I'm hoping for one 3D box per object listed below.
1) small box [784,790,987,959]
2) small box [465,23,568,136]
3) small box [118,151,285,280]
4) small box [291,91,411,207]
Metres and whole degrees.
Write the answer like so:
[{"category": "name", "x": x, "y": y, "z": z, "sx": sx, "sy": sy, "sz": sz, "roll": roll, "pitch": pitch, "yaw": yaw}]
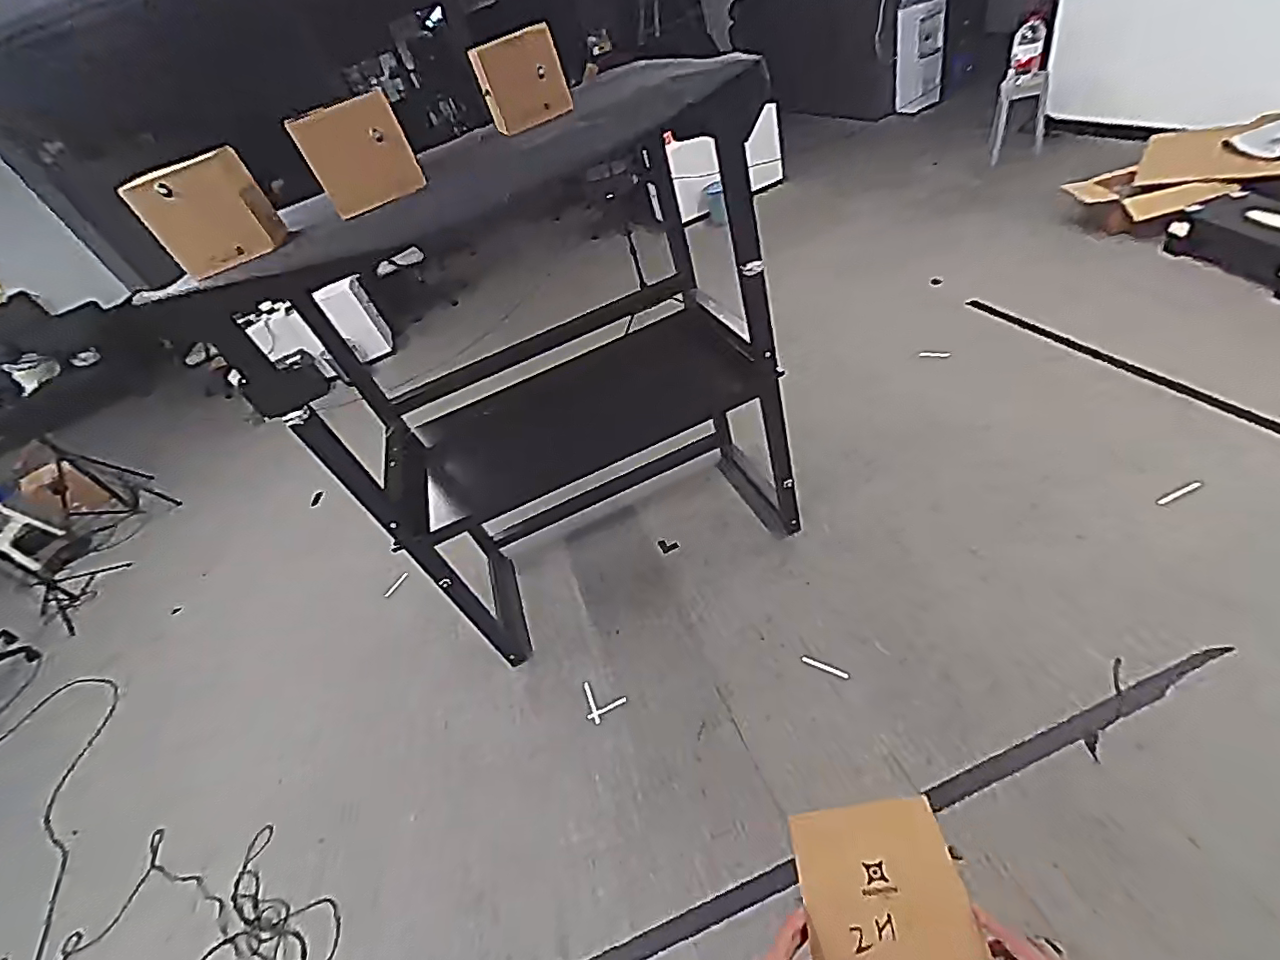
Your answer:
[{"category": "small box", "x": 0.277, "y": 0.498, "z": 0.614, "sx": 0.168, "sy": 0.176, "sz": 0.179, "roll": -18, "pitch": 22, "yaw": 12}, {"category": "small box", "x": -0.284, "y": -0.927, "z": 1.259, "sx": 0.168, "sy": 0.176, "sz": 0.179, "roll": -26, "pitch": 42, "yaw": -5}, {"category": "small box", "x": -0.823, "y": -0.508, "z": 1.041, "sx": 0.168, "sy": 0.176, "sz": 0.179, "roll": -26, "pitch": 41, "yaw": -6}, {"category": "small box", "x": -0.647, "y": -0.757, "z": 1.237, "sx": 0.179, "sy": 0.176, "sz": 0.168, "roll": -25, "pitch": 41, "yaw": -2}]
